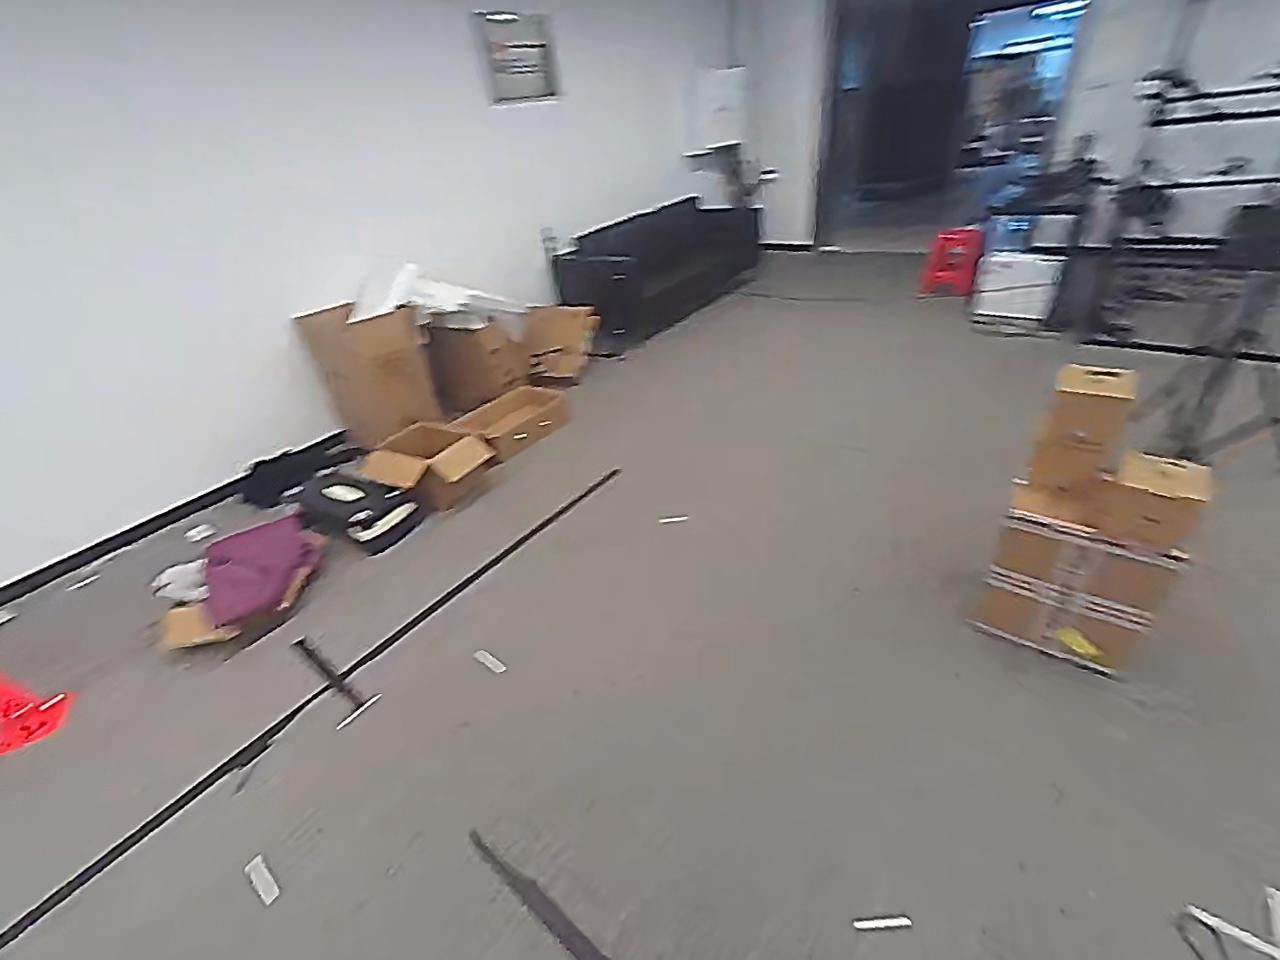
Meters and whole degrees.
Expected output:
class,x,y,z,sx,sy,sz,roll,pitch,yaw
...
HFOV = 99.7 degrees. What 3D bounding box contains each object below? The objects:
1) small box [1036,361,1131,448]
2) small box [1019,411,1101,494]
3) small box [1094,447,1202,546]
class,x,y,z,sx,sy,sz,roll,pitch,yaw
small box,1.238,-0.213,1.515,0.168,0.176,0.179,16,43,36
small box,1.255,-0.084,1.617,0.168,0.176,0.179,13,41,33
small box,1.322,0.044,1.413,0.168,0.176,0.179,19,44,34
